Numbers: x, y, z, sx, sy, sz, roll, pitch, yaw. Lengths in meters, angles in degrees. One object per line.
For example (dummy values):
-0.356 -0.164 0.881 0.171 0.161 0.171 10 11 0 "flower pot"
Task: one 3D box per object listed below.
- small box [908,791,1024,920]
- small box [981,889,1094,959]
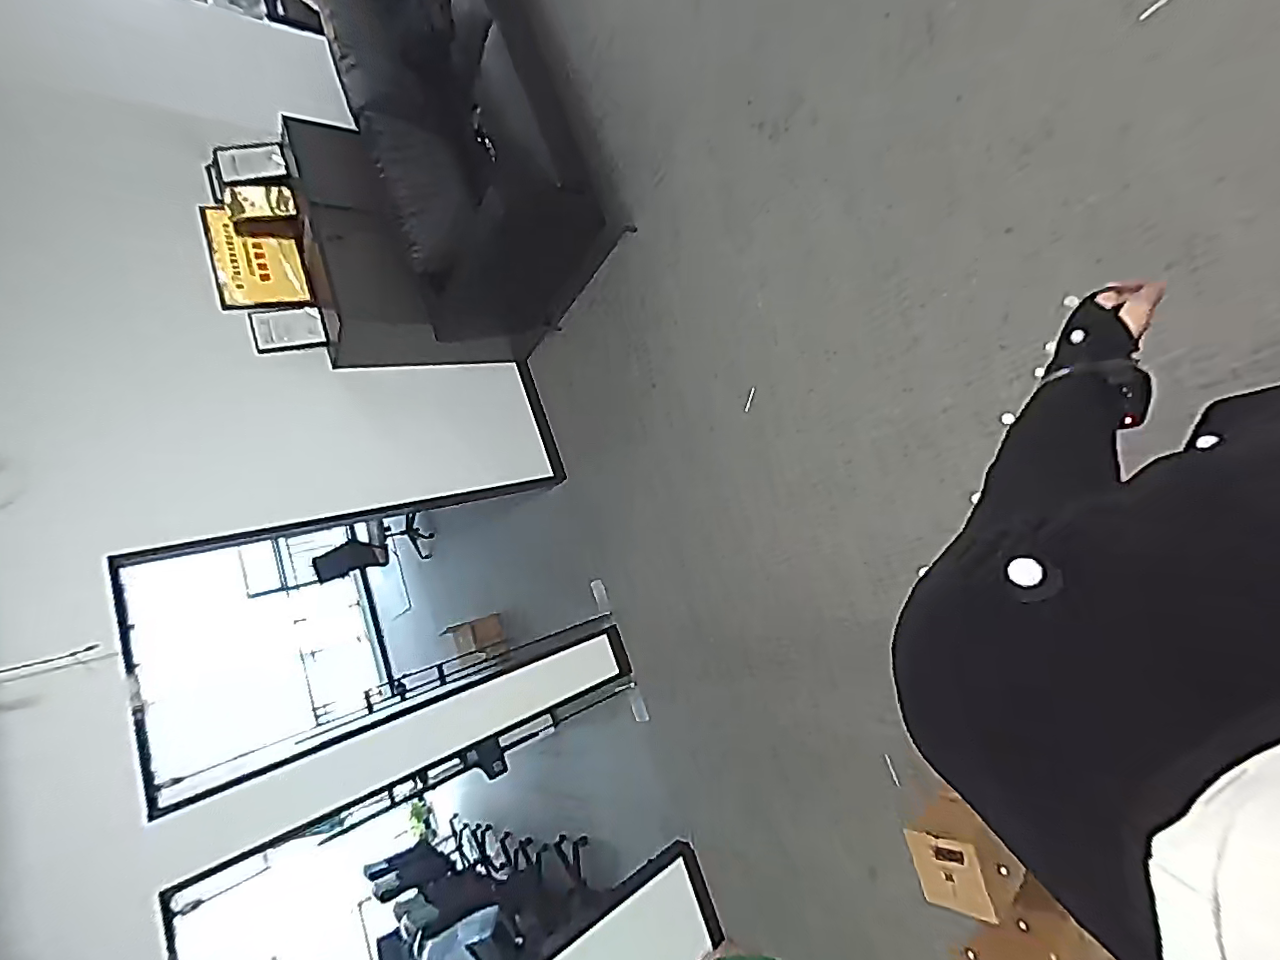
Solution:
0.784 0.886 1.300 0.168 0.176 0.179 -23 81 52 "small box"
1.005 1.176 1.357 0.179 0.176 0.168 -25 79 53 "small box"
